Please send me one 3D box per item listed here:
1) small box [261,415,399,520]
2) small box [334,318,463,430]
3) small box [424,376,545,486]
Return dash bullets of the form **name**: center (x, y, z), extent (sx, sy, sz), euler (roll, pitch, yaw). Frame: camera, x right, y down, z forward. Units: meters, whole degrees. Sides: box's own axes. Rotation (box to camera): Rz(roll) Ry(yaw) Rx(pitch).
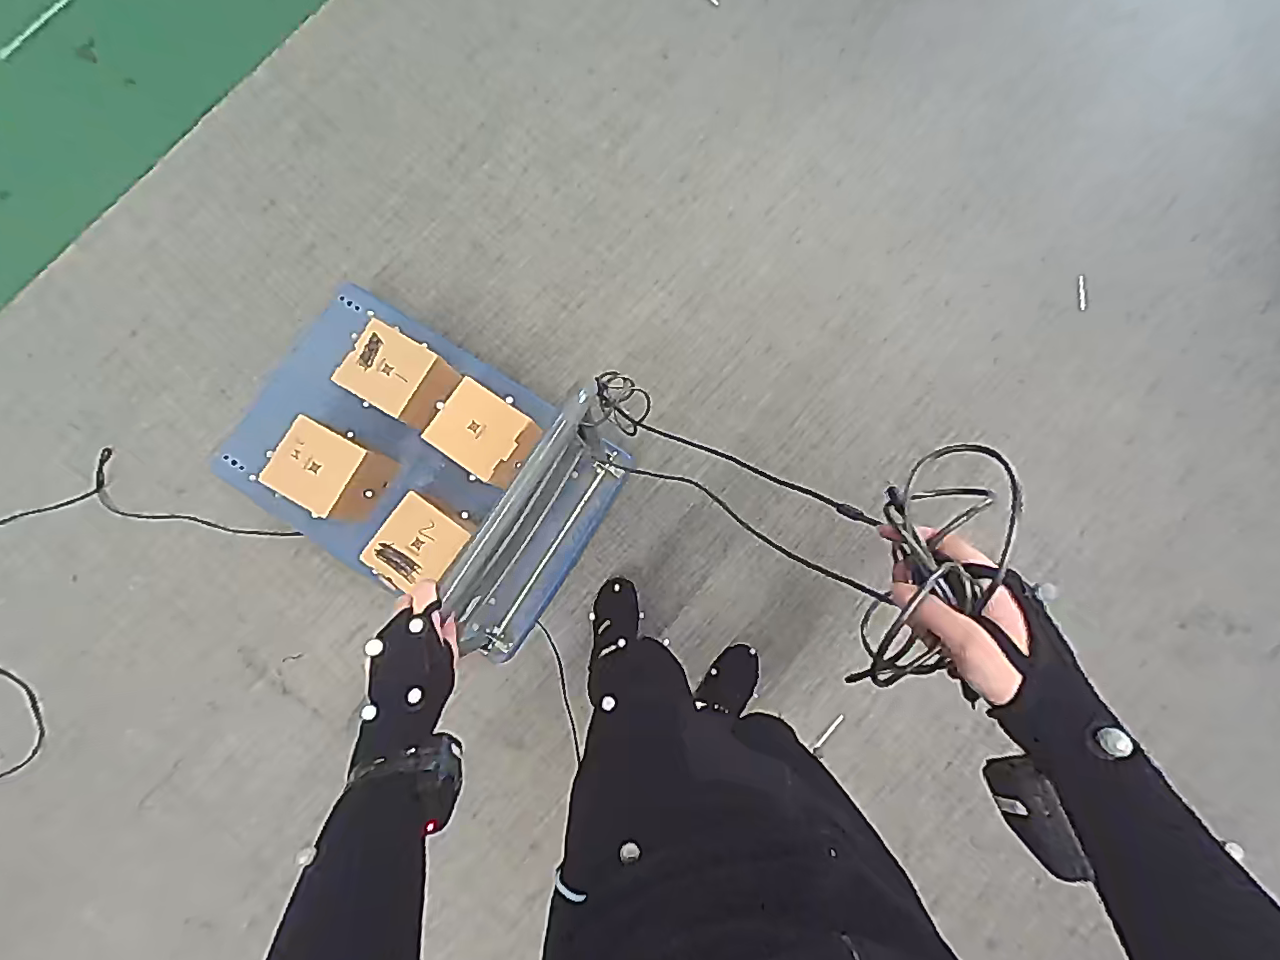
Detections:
- **small box**: center (-0.683, -0.020, 1.218), extent (0.179, 0.176, 0.168), euler (29, 84, 5)
- **small box**: center (-0.543, -0.234, 1.242), extent (0.179, 0.176, 0.168), euler (30, 85, 4)
- **small box**: center (-0.342, -0.100, 1.222), extent (0.179, 0.176, 0.168), euler (34, 85, 5)
